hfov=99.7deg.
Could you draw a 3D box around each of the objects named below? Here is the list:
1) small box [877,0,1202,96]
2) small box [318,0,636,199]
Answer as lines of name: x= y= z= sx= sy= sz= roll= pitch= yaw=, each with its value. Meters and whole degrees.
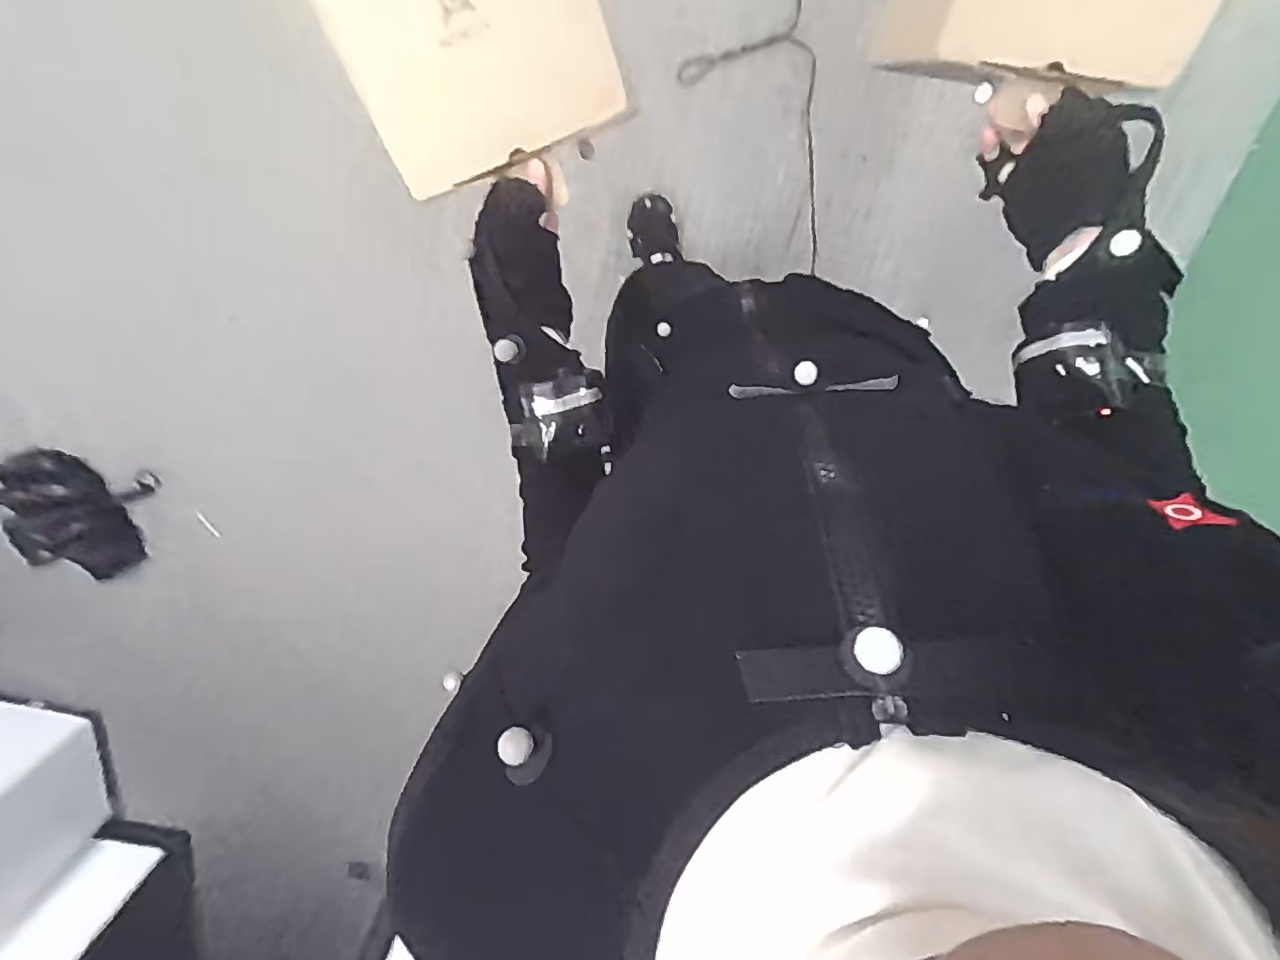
small box: x=0.294 y=-0.399 z=0.391 sx=0.168 sy=0.176 sz=0.179 roll=9 pitch=127 yaw=-1
small box: x=-0.108 y=-0.337 z=0.398 sx=0.168 sy=0.176 sz=0.179 roll=-16 pitch=121 yaw=13
